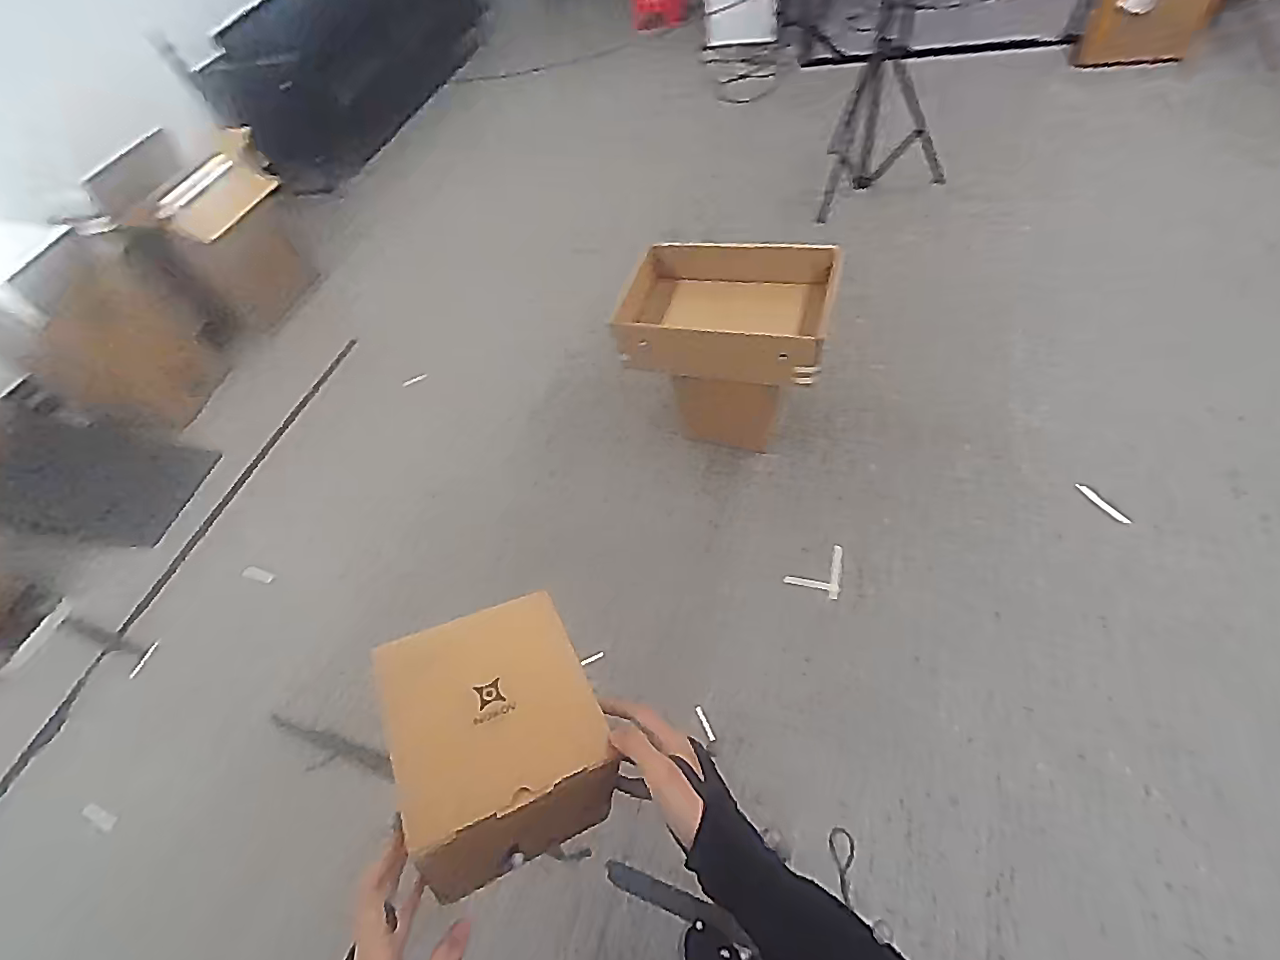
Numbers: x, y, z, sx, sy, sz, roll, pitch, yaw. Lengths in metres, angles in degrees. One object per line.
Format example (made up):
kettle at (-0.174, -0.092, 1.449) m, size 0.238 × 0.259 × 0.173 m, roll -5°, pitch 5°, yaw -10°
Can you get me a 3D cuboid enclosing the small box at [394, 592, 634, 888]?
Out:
small box at (-0.124, 0.244, 0.518) m, size 0.168 × 0.176 × 0.179 m, roll -15°, pitch 49°, yaw -24°
